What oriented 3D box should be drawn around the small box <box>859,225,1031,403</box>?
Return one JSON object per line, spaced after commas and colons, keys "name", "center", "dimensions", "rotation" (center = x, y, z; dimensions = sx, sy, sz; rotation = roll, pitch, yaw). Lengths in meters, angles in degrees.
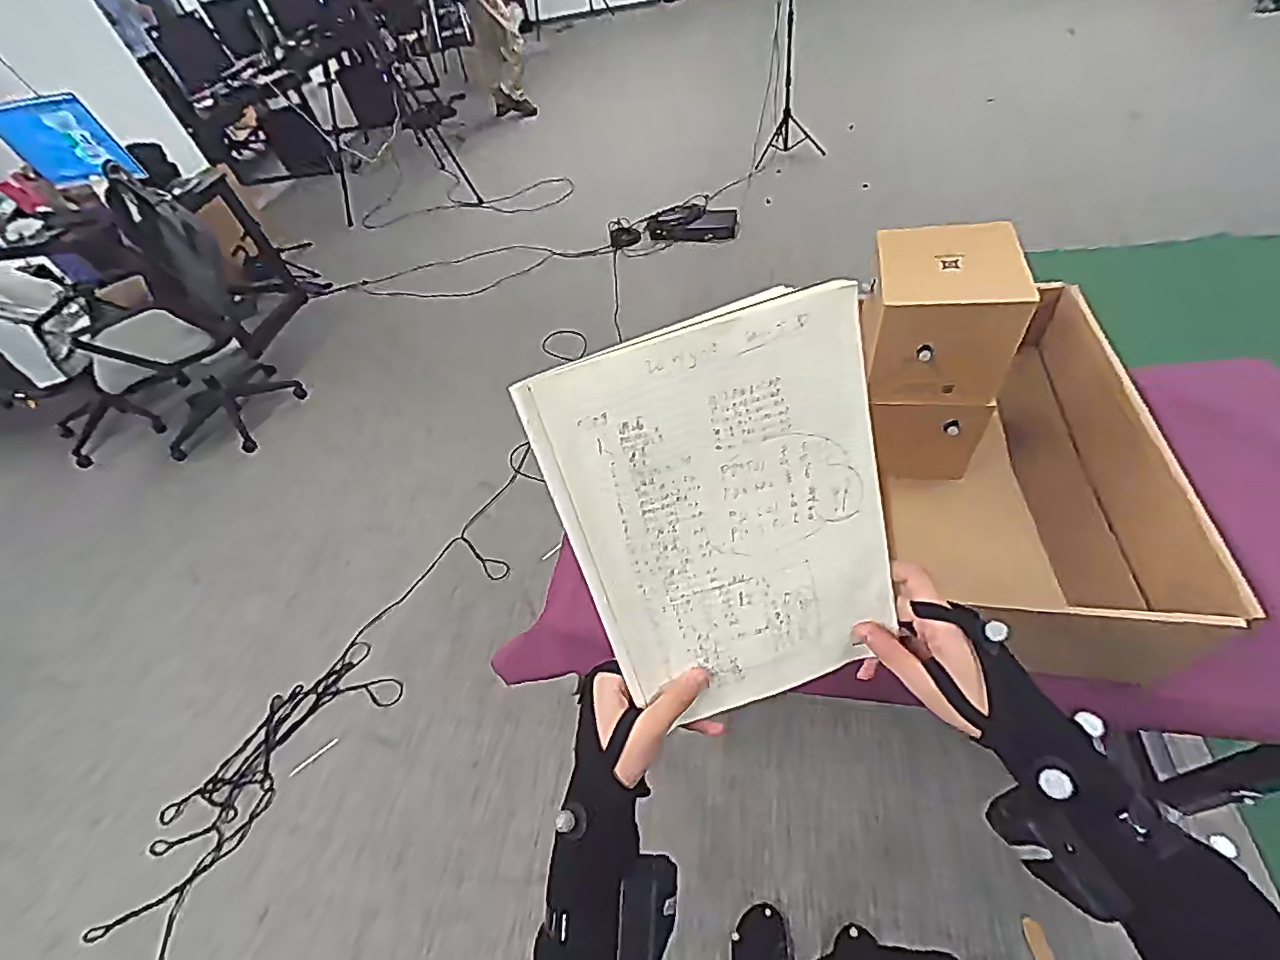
{"name": "small box", "center": [0.400, -0.220, 0.743], "dimensions": [0.168, 0.176, 0.179], "rotation": [3, 52, 15]}
